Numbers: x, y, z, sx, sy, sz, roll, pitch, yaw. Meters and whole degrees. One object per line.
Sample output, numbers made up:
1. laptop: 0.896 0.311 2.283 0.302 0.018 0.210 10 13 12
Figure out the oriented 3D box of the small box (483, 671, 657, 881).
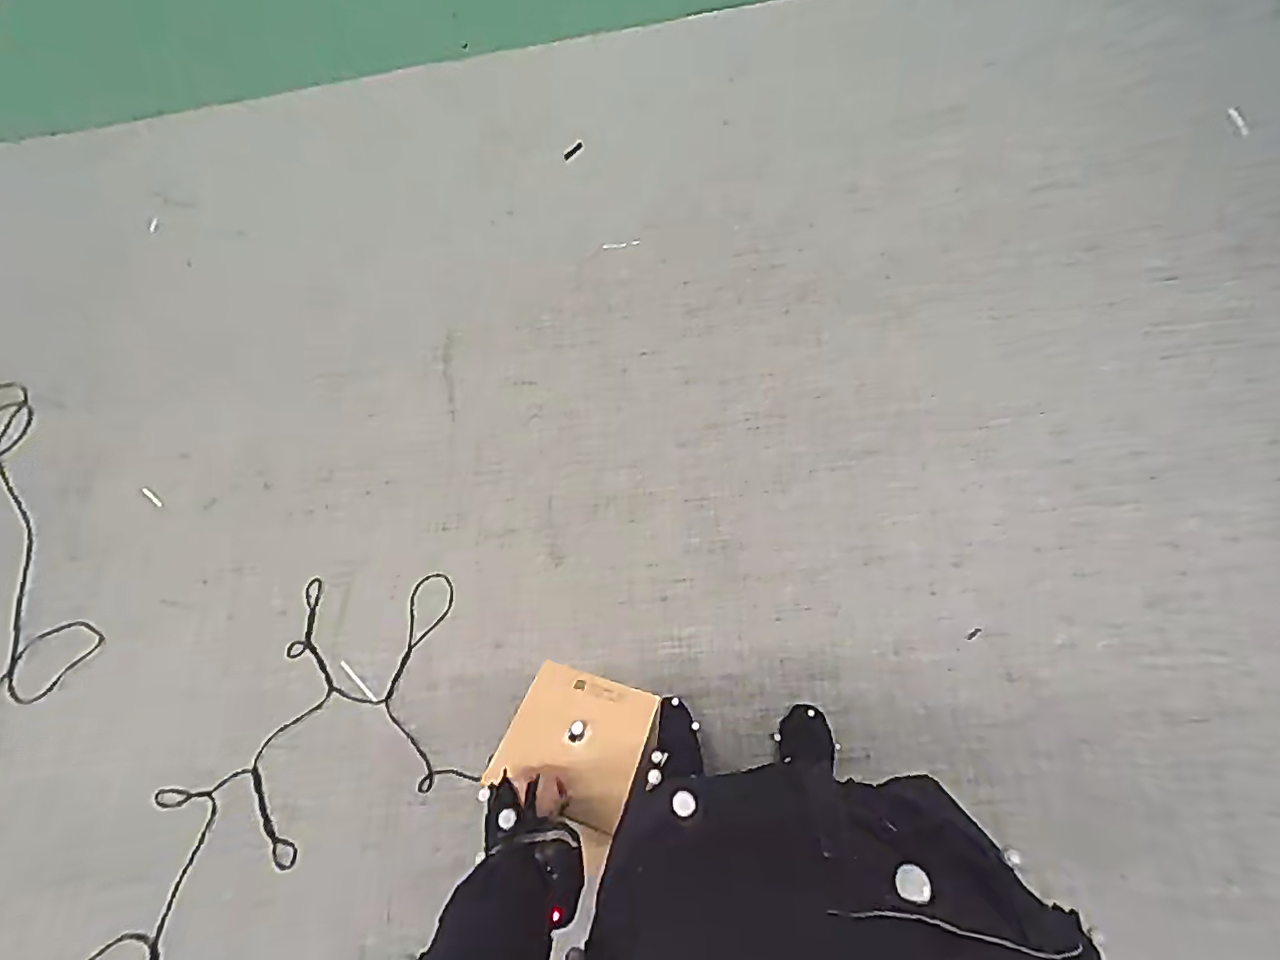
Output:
1. small box: -0.078 0.377 0.704 0.168 0.179 0.176 10 42 13
